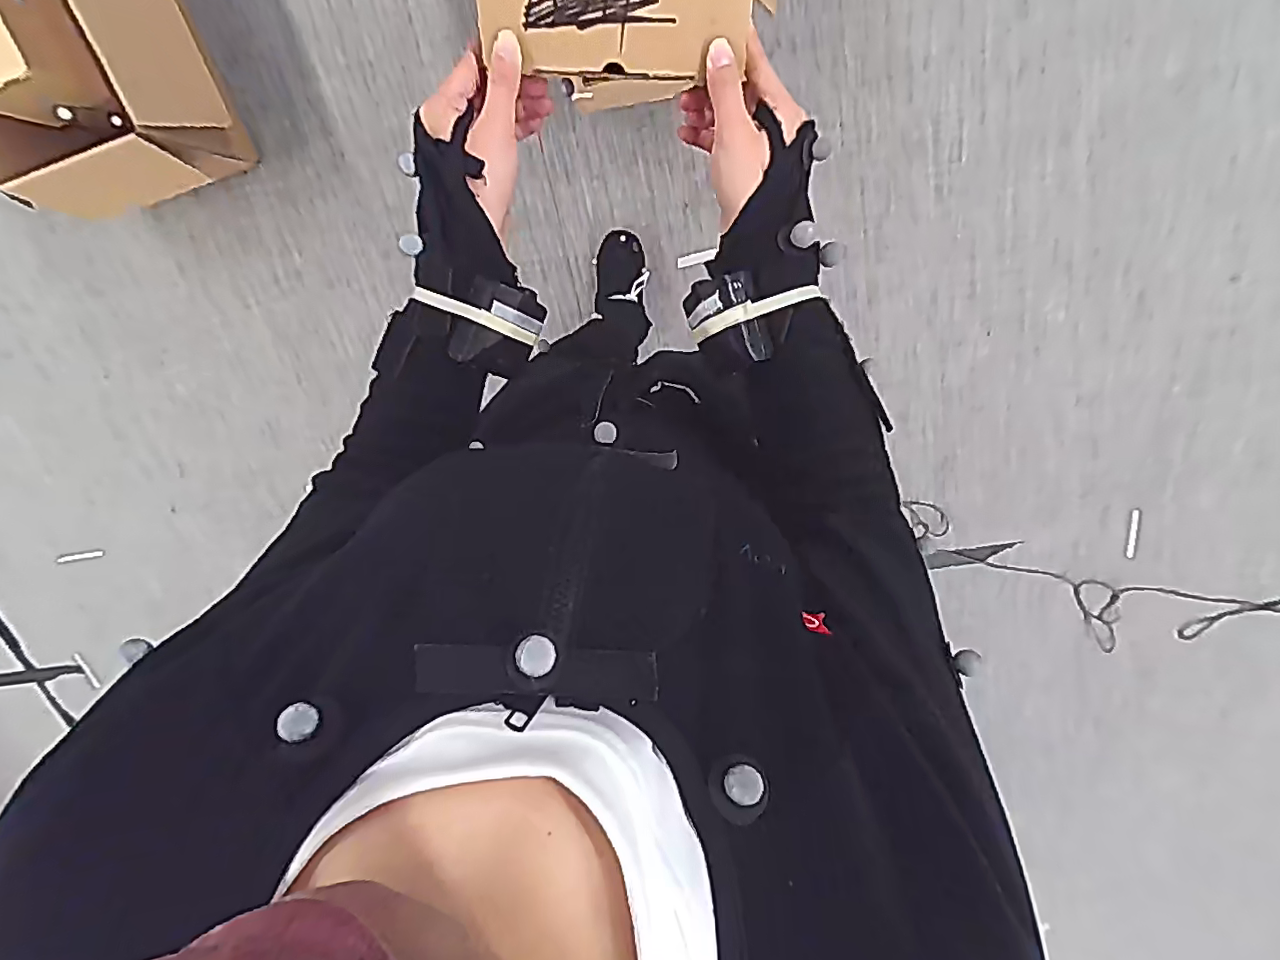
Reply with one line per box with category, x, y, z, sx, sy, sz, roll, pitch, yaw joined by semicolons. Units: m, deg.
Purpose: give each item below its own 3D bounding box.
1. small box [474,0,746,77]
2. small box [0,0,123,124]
small box;-0.011;-0.375;0.352;0.168;0.176;0.179;3;126;1
small box;-1.057;-0.740;0.914;0.168;0.176;0.179;-11;111;8
